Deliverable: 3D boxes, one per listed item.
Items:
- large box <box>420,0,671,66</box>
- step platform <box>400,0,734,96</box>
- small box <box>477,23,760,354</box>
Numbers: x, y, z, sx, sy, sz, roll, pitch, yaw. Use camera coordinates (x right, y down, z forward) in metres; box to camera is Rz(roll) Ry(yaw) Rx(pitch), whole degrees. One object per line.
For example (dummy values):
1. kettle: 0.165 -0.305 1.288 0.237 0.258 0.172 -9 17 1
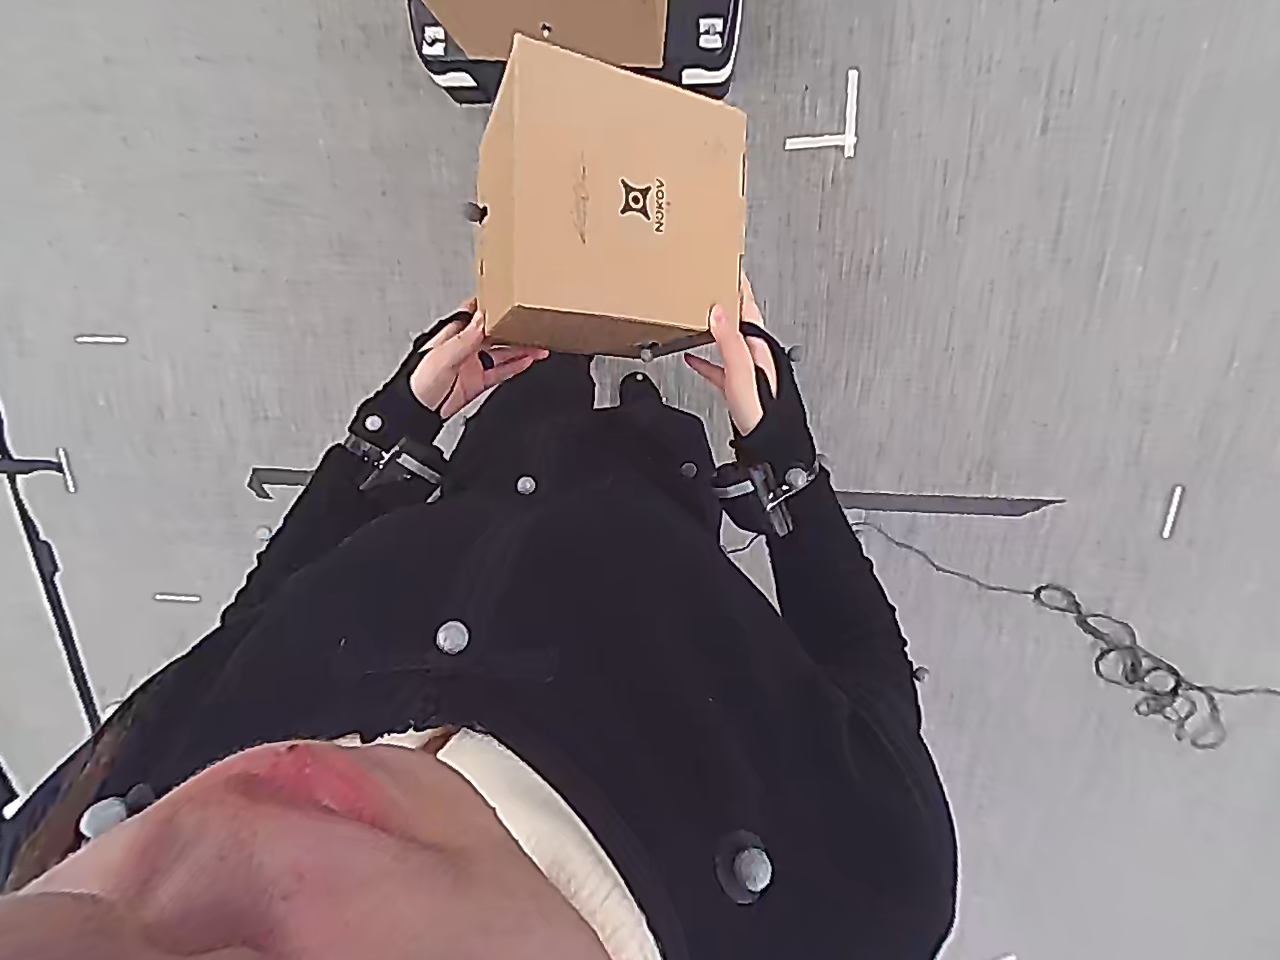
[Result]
1. large box: -0.149 -0.937 0.904 0.408 0.320 0.320 5 105 5
2. step platform: -0.148 -0.988 1.139 0.684 0.204 0.286 8 105 4
3. small box: -0.027 -0.201 0.438 0.179 0.176 0.168 1 94 -25
